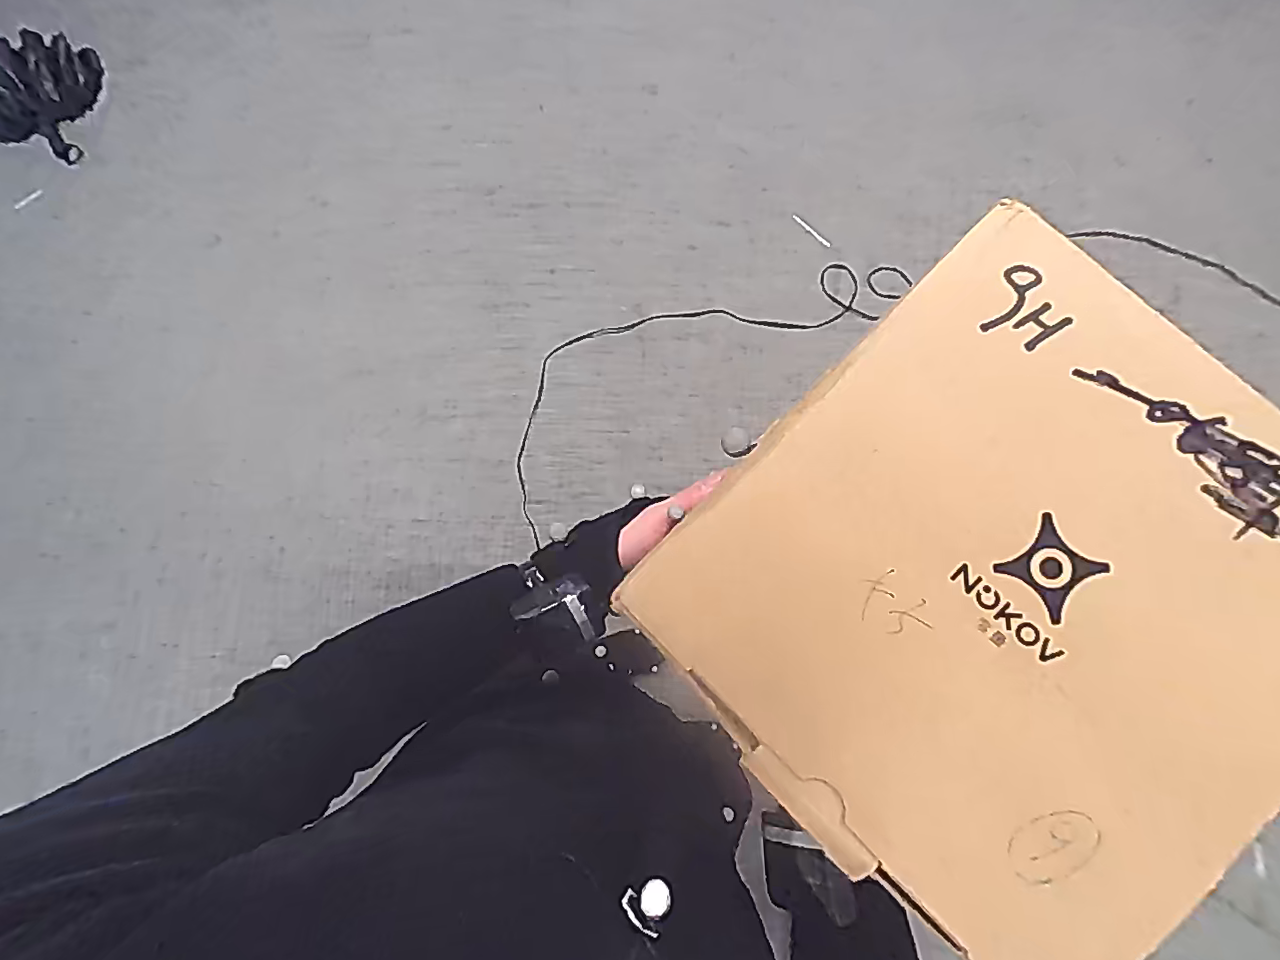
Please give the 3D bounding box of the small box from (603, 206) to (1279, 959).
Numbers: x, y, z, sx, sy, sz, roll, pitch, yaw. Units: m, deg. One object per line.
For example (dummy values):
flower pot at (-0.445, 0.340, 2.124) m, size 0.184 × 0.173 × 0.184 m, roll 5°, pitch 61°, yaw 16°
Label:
small box at (0.111, 0.041, 0.231) m, size 0.179 × 0.176 × 0.168 m, roll -45°, pitch 83°, yaw -1°
